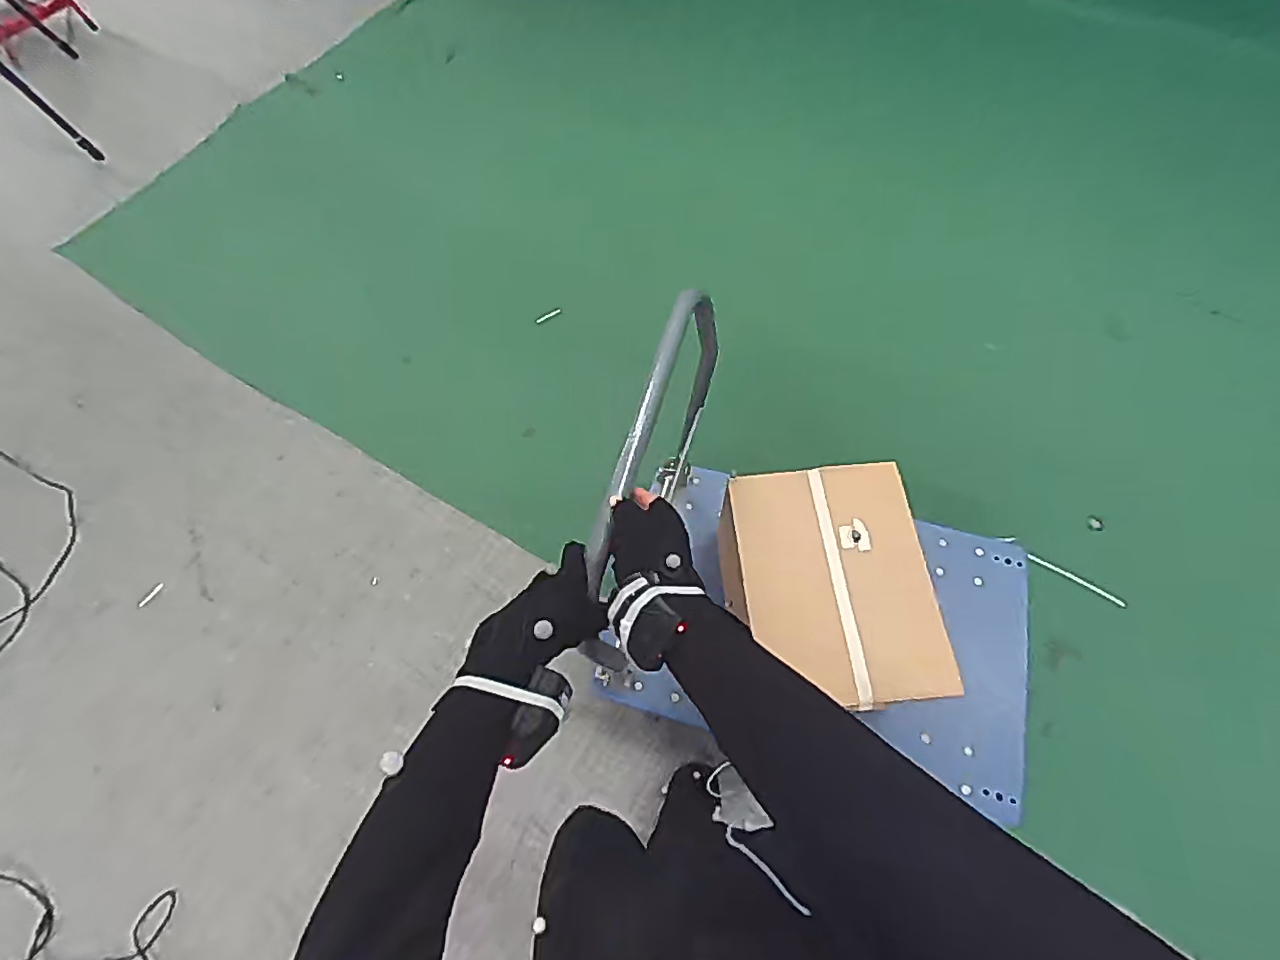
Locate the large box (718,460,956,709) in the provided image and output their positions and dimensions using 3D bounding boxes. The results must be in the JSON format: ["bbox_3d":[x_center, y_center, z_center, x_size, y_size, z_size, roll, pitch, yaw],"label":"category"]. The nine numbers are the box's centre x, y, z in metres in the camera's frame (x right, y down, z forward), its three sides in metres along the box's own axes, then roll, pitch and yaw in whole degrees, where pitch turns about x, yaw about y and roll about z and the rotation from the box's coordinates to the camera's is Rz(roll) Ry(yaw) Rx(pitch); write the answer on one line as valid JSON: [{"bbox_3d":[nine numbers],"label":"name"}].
[{"bbox_3d":[0.337,0.217,1.056,0.320,0.320,0.408,-4,66,1],"label":"large box"}]
